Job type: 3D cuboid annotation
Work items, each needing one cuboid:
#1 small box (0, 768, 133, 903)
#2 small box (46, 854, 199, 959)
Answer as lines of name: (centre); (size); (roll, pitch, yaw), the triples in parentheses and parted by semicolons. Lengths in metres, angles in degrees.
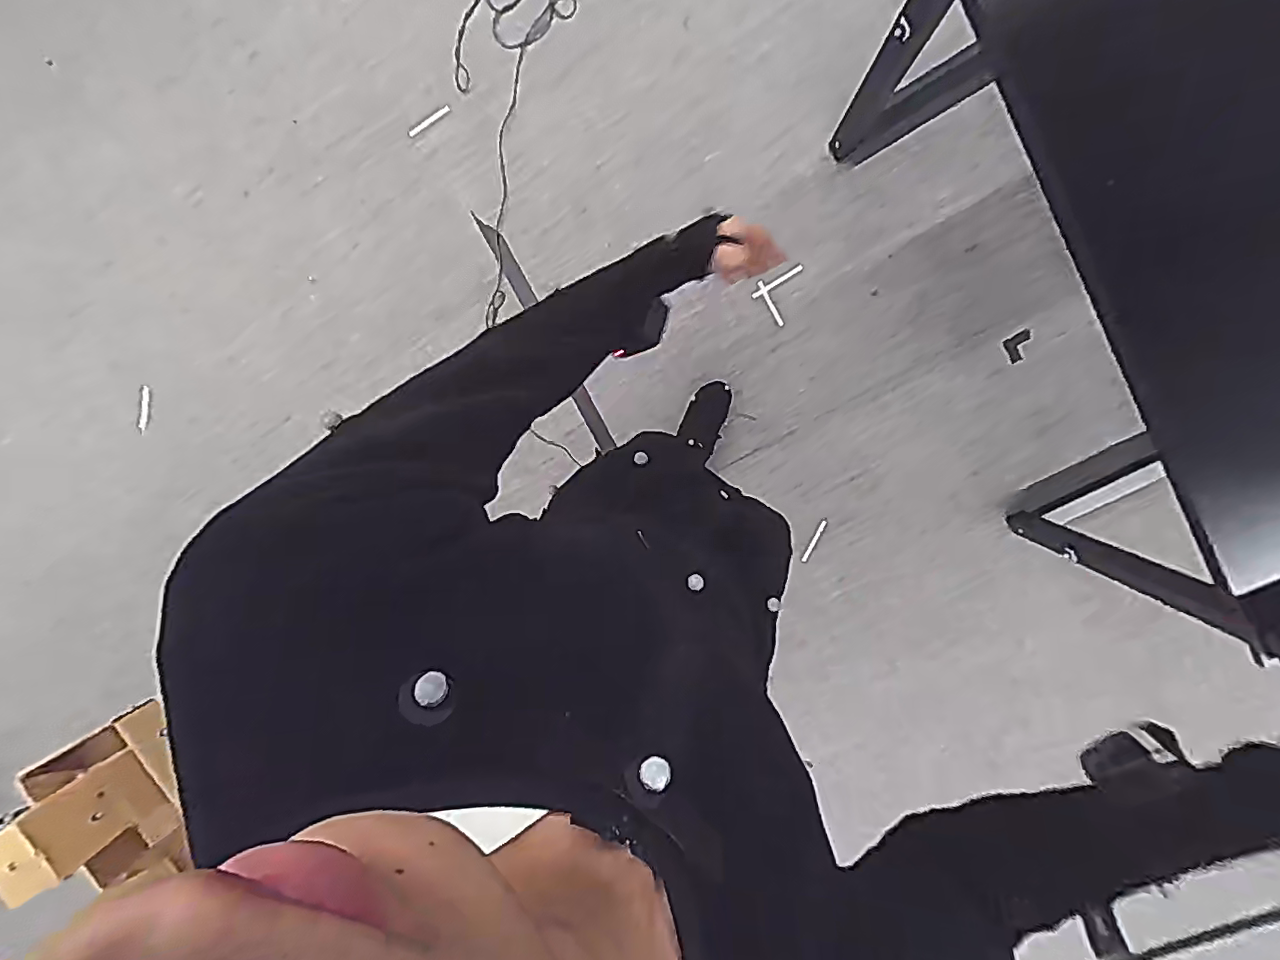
small box: (-1.361, 0.820, 1.261); (0.179, 0.176, 0.168); (-31, 97, 11)
small box: (-1.225, 1.048, 1.293); (0.179, 0.176, 0.168); (-28, 97, 12)
